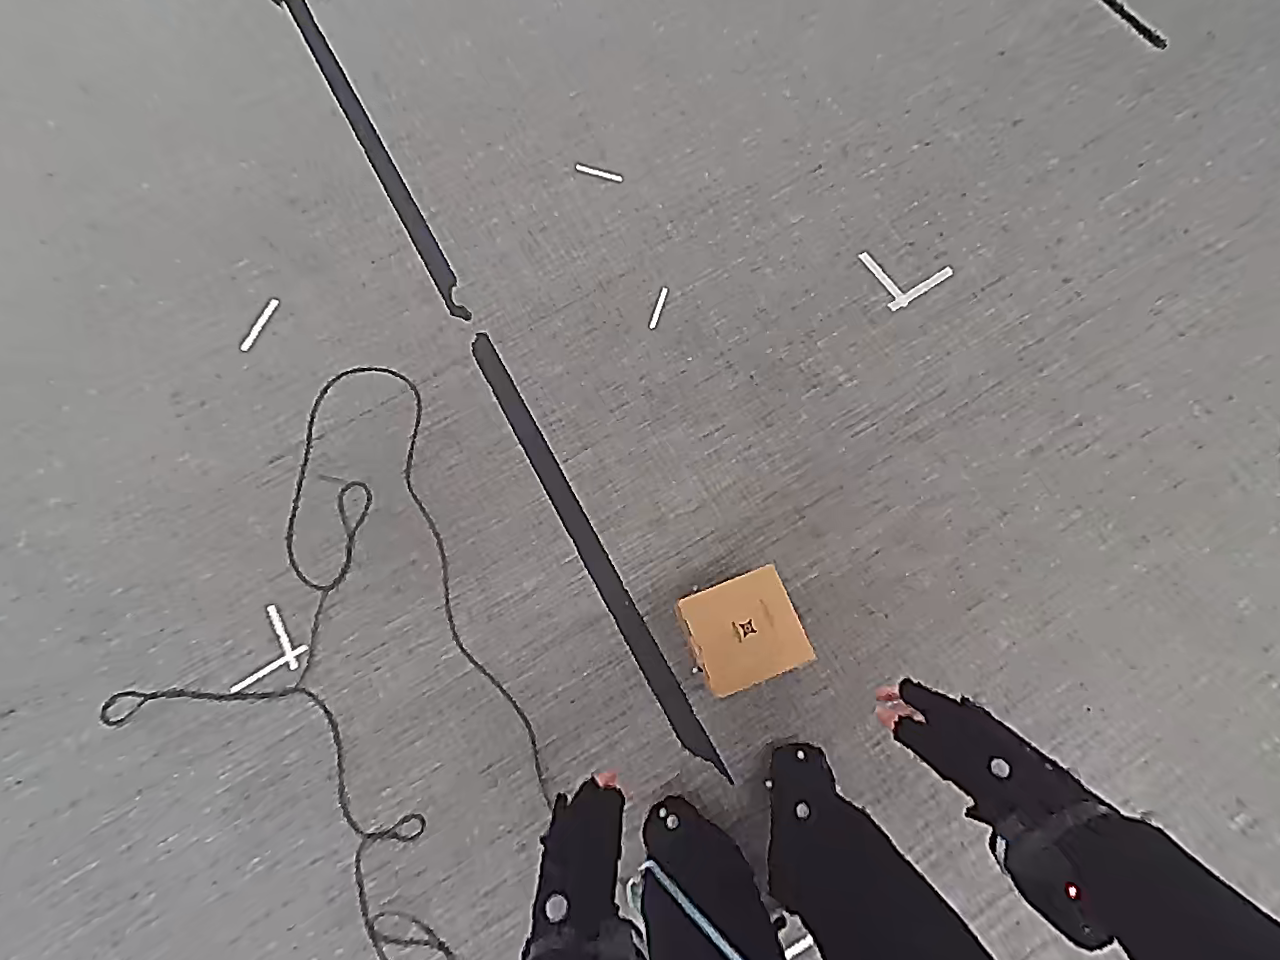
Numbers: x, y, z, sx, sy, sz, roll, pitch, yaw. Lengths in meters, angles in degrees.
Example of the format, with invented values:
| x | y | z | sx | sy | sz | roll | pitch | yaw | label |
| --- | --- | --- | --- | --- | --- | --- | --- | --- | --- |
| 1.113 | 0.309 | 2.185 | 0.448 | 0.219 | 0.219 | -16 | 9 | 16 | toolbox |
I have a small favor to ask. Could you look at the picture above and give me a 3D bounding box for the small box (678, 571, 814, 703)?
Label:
| x | y | z | sx | sy | sz | roll | pitch | yaw | label |
| --- | --- | --- | --- | --- | --- | --- | --- | --- | --- |
| 0.177 | 0.278 | 0.963 | 0.179 | 0.176 | 0.168 | -21 | 75 | -4 | small box |
